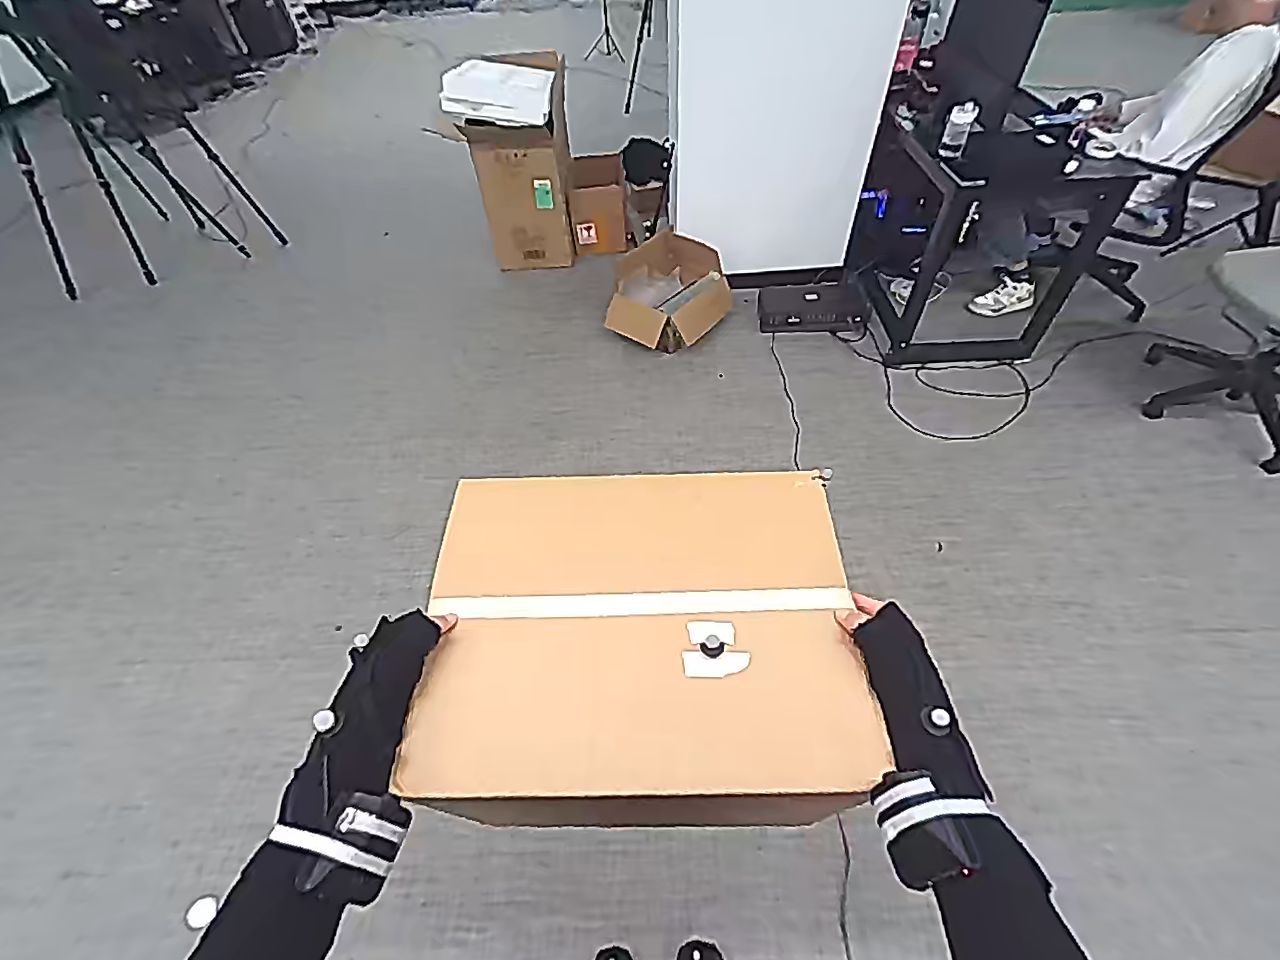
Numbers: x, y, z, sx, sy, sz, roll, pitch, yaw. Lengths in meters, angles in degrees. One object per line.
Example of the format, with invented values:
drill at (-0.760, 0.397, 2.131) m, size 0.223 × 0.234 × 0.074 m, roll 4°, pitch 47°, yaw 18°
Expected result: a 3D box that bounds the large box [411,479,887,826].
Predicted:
large box at (0.007, 0.215, 0.650) m, size 0.408 × 0.320 × 0.320 m, roll -1°, pitch 53°, yaw 1°
